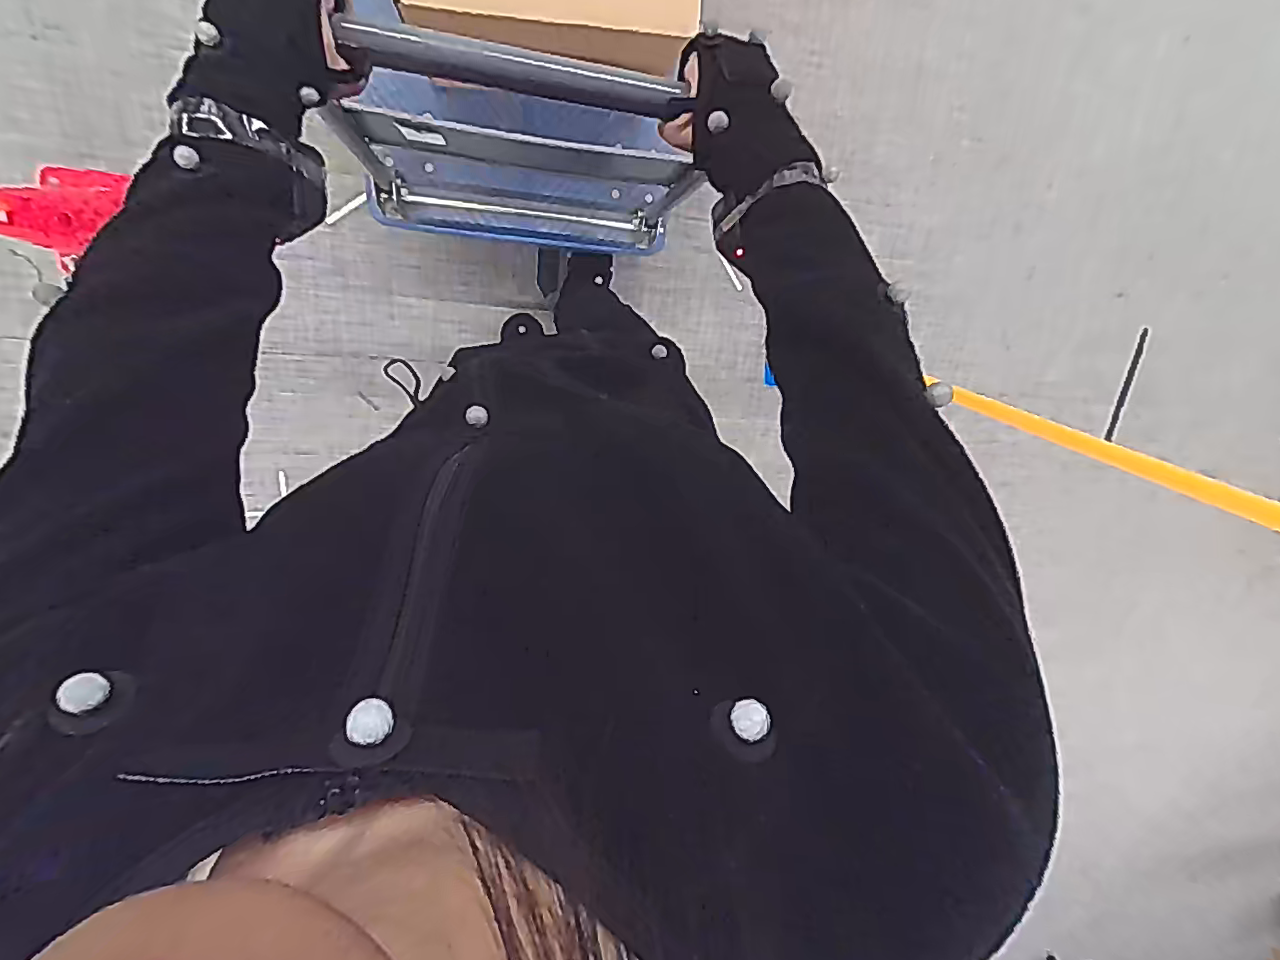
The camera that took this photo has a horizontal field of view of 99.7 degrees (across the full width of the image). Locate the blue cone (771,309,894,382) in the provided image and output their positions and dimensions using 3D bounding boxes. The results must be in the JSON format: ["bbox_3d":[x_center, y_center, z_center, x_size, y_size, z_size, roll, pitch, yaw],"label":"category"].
[{"bbox_3d":[0.477,-0.310,1.305,0.193,0.380,0.192,-2,109,-12],"label":"blue cone"}]
